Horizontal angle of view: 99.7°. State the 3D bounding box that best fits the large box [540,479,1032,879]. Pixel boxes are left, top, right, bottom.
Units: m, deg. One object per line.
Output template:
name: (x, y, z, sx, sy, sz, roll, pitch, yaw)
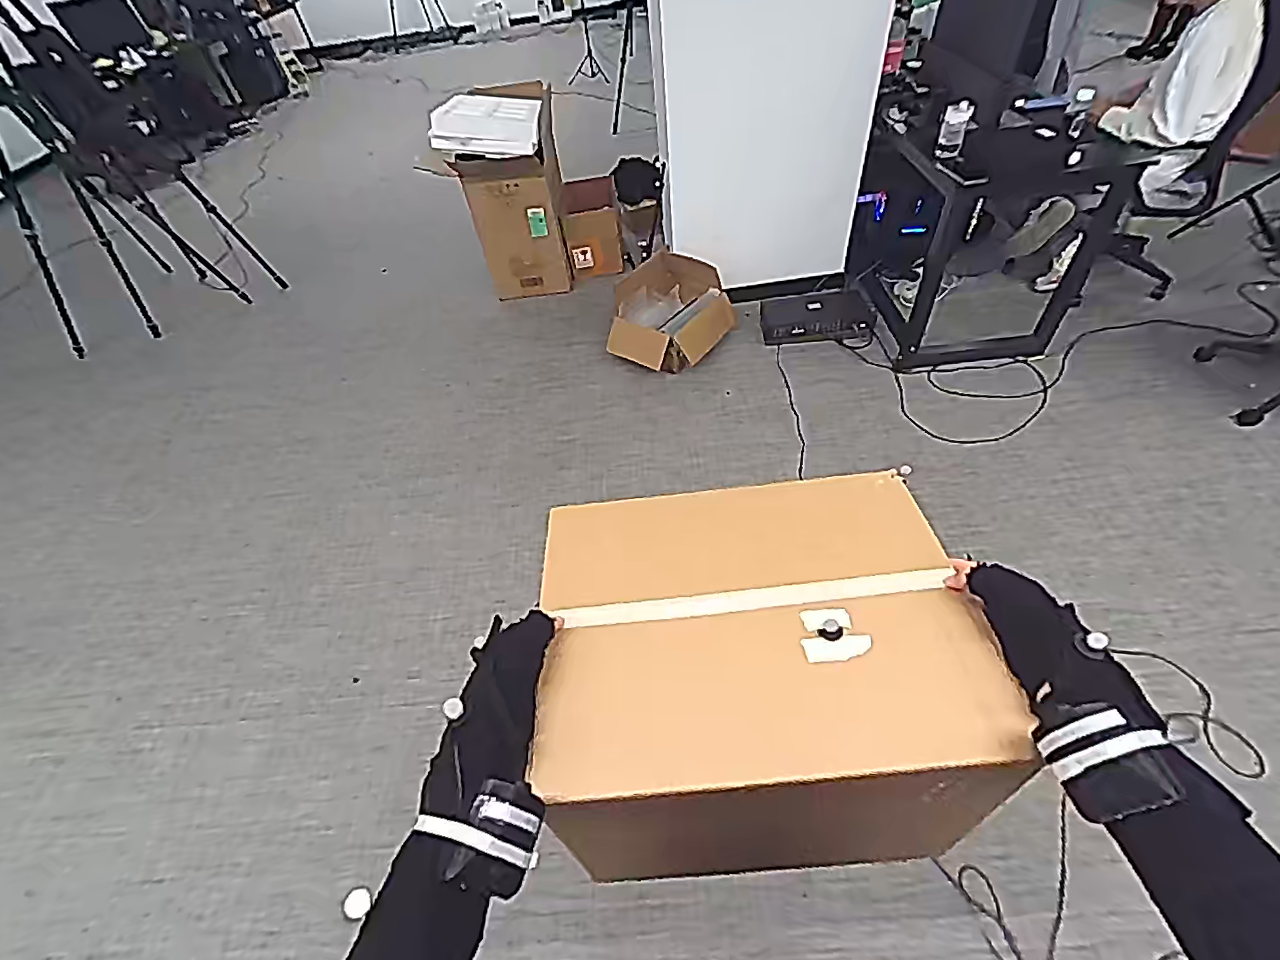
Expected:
large box: (0.120, 0.234, 0.637, 0.408, 0.320, 0.320, -7, 44, 2)
